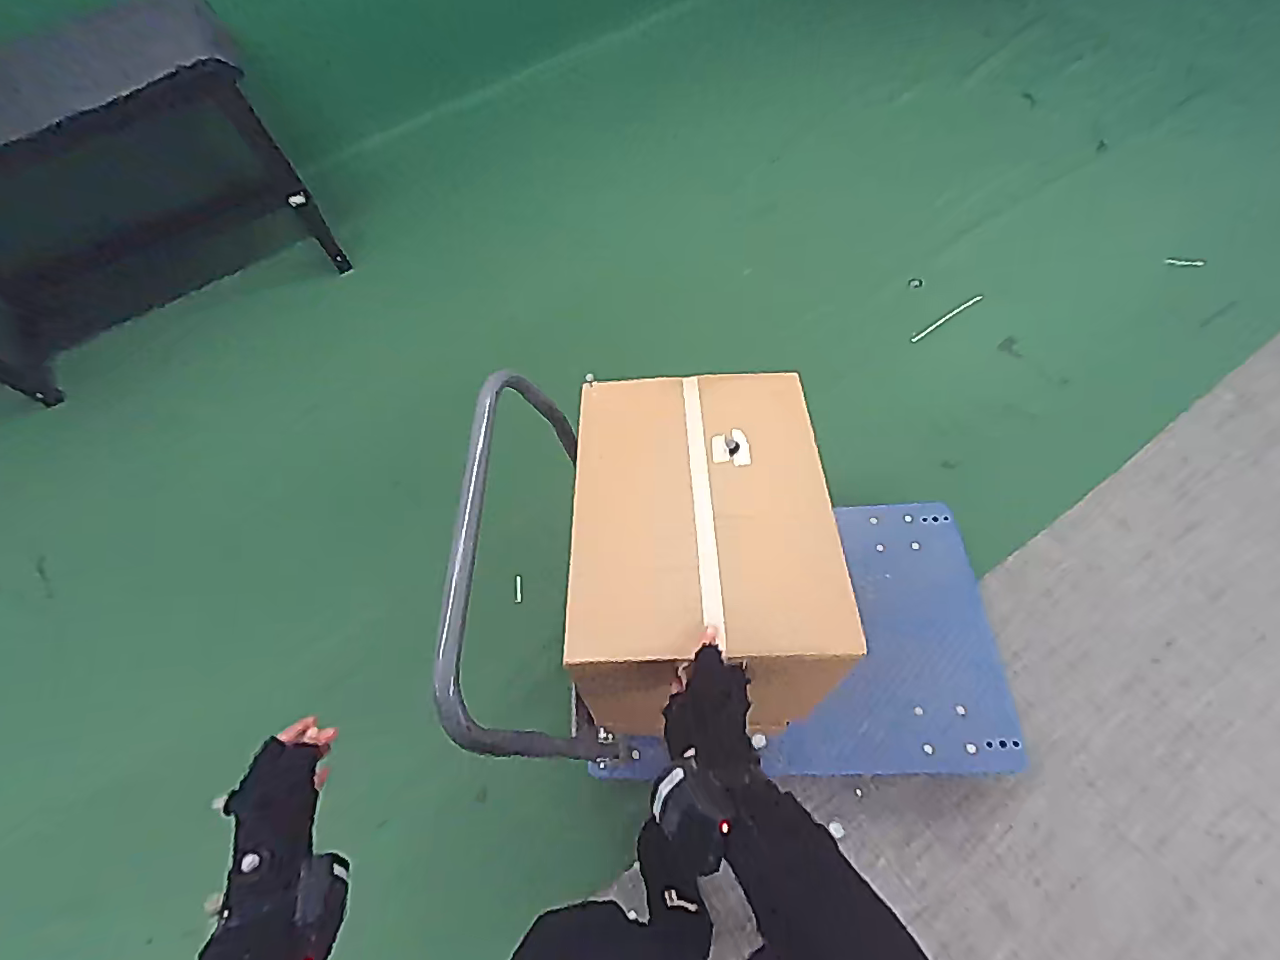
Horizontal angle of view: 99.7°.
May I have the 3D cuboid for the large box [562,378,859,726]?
[{"bbox_3d":[0.077,0.108,0.787,0.320,0.320,0.408,-2,53,2],"label":"large box"}]
